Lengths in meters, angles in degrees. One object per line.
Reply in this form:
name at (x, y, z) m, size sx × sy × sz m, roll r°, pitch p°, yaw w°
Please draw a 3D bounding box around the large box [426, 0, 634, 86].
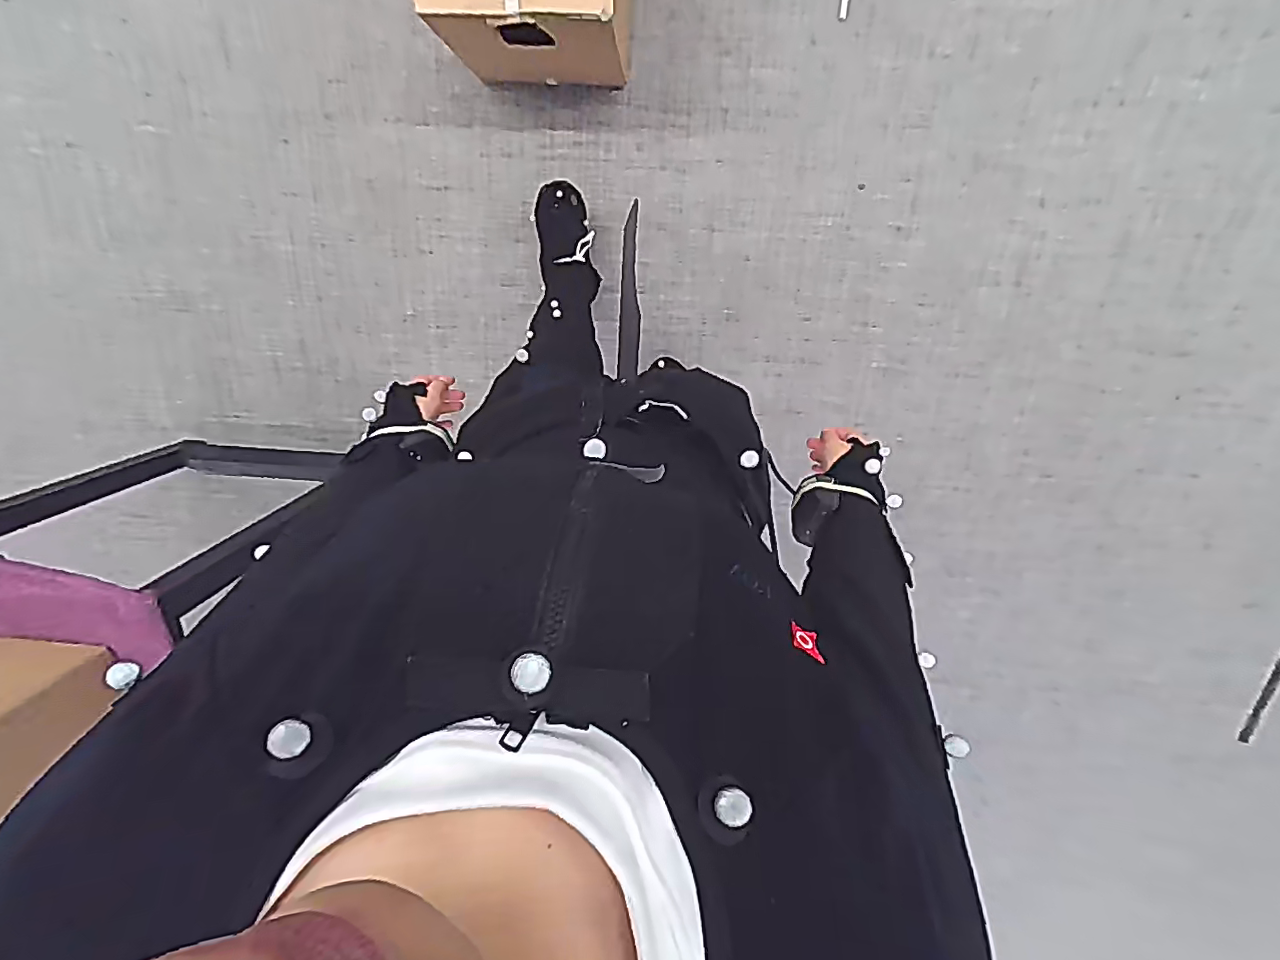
large box at (-0.169, -0.948, 0.906) m, size 0.320 × 0.320 × 0.408 m, roll 3°, pitch 111°, yaw 3°
